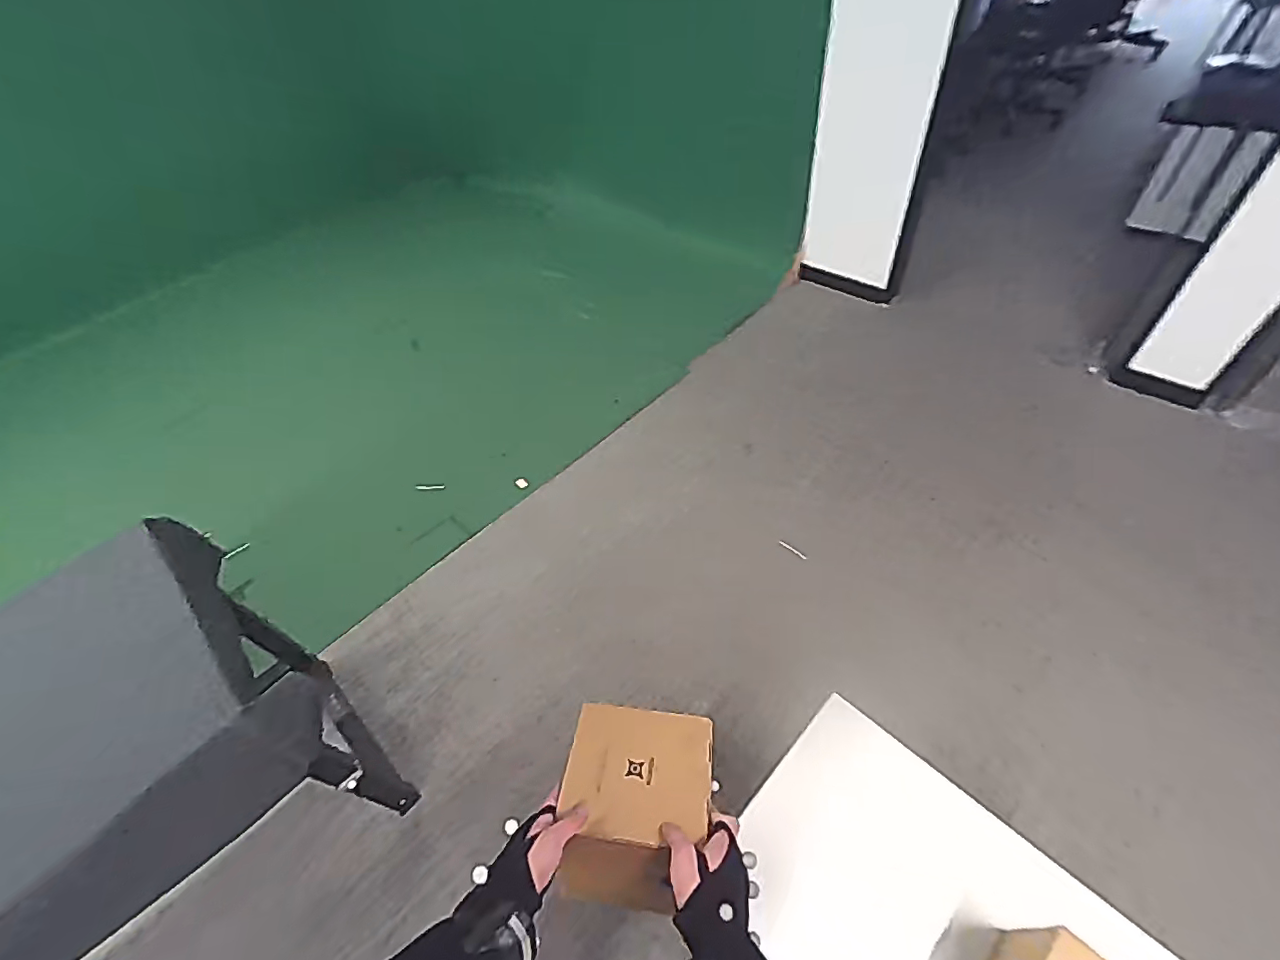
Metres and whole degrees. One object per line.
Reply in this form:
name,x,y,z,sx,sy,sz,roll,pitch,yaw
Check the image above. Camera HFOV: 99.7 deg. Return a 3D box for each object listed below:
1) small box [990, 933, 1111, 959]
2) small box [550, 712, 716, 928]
small box,0.470,0.622,0.564,0.168,0.176,0.179,-38,56,-26
small box,-0.003,0.418,0.671,0.179,0.176,0.168,2,29,4
